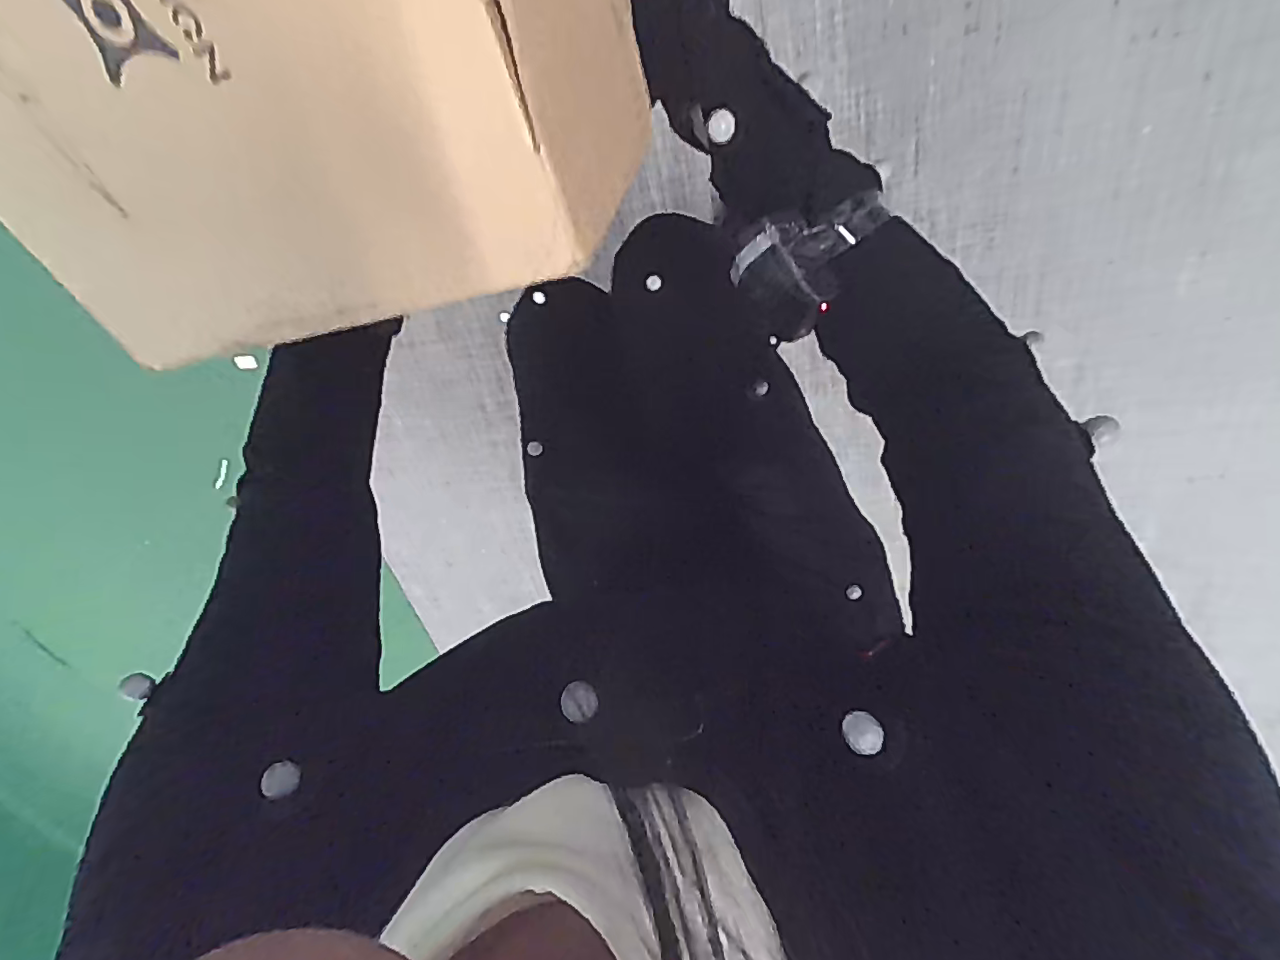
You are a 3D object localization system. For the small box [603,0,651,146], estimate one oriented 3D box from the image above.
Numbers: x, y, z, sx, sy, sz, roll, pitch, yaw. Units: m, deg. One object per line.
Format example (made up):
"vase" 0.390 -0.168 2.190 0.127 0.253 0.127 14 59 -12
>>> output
"small box" -0.099 -0.269 0.299 0.179 0.176 0.168 -7 132 19

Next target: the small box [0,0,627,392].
"small box" -0.111 -0.155 0.180 0.179 0.176 0.168 -7 130 19
